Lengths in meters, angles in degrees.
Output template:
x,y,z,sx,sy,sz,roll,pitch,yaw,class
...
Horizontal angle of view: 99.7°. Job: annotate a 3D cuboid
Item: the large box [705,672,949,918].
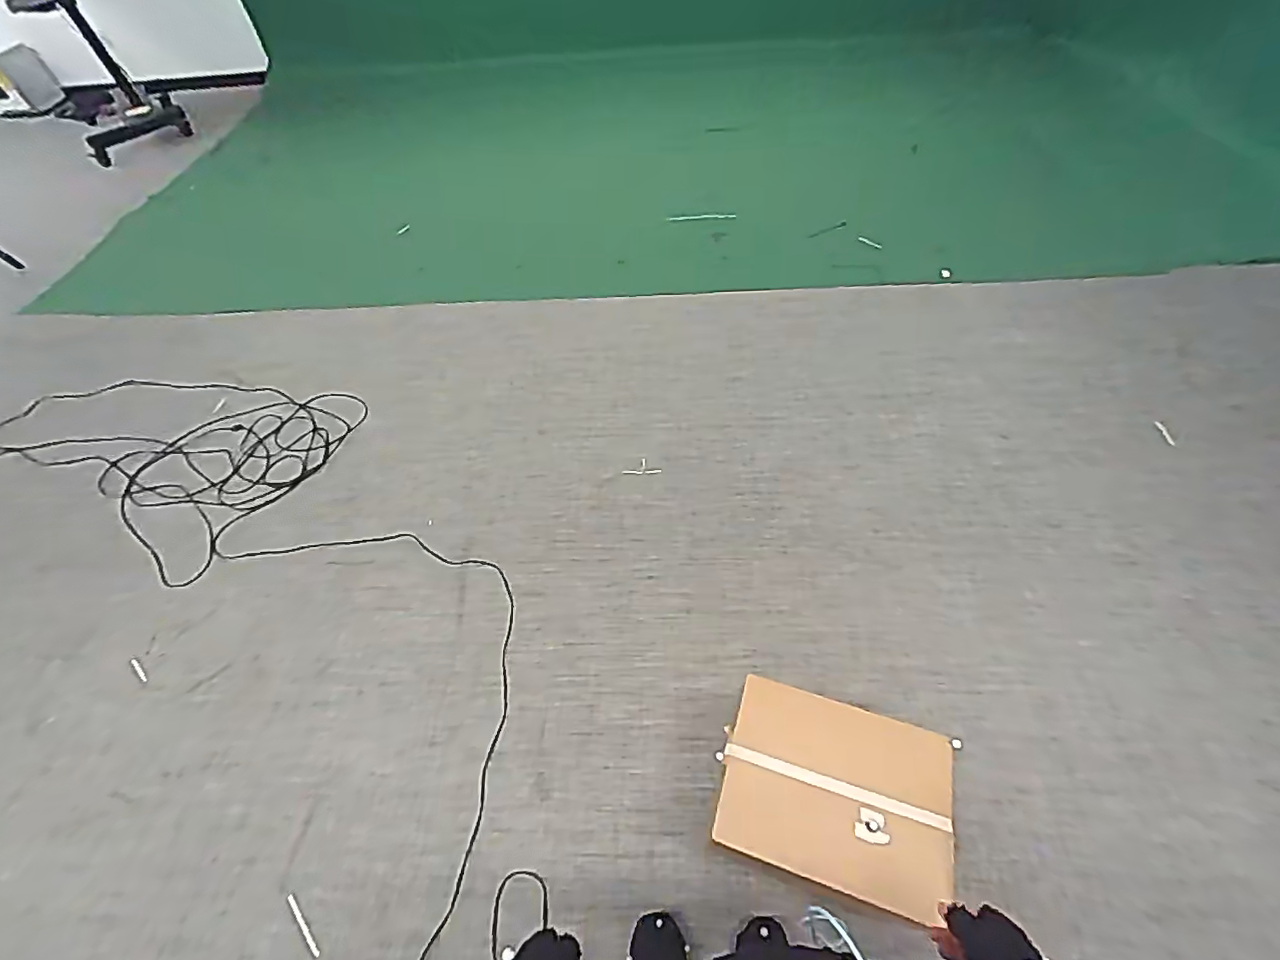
x,y,z,sx,sy,sz,roll,pitch,yaw,class
0.372,0.655,1.137,0.408,0.320,0.320,14,56,13,large box
